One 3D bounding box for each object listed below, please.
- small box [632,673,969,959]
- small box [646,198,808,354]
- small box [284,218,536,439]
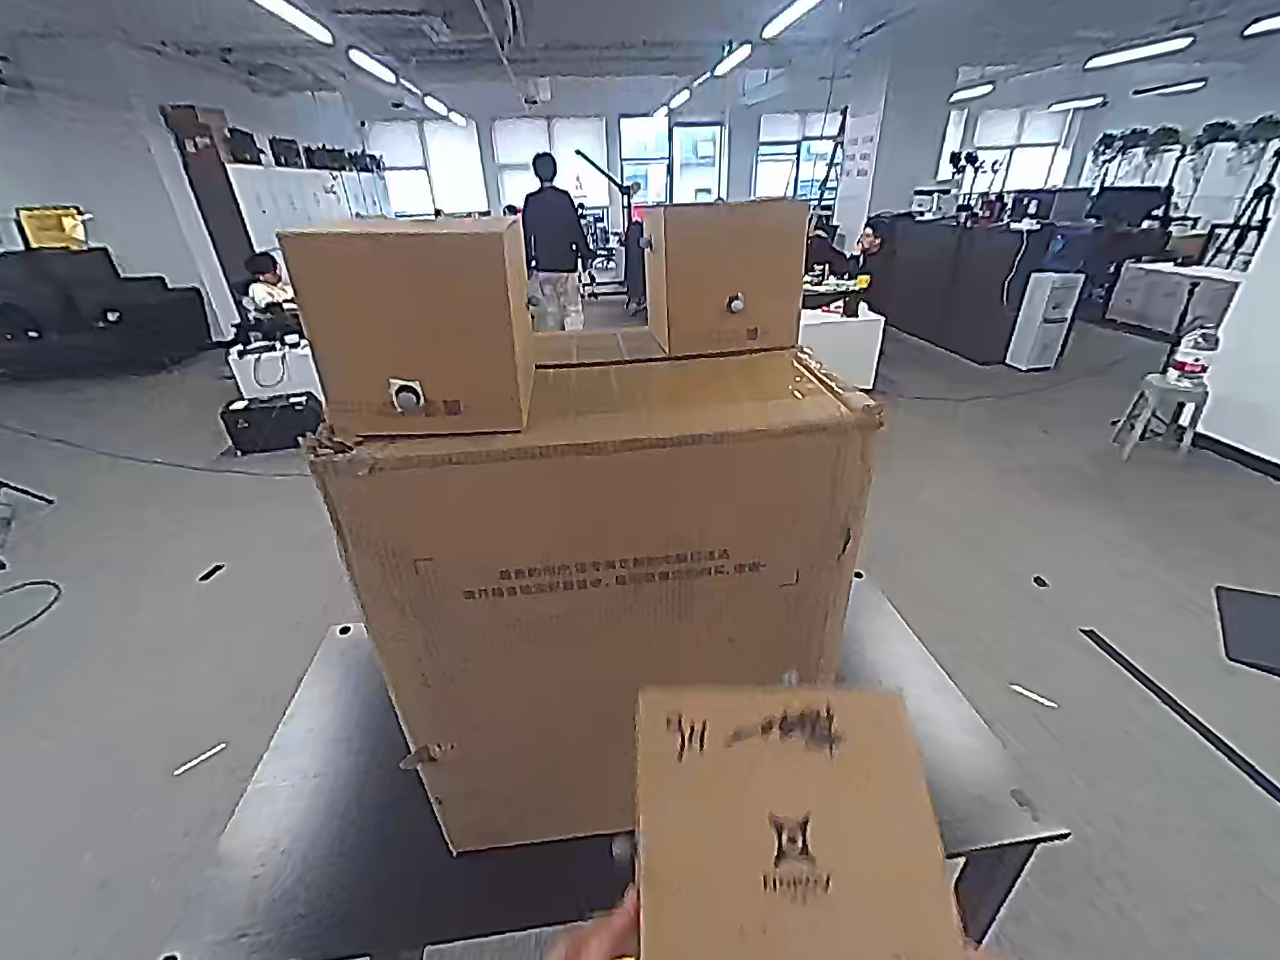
[{"bbox_3d":[0.079,0.231,0.357,0.168,0.176,0.179,0,61,-1],"label":"small box"},{"bbox_3d":[0.100,-0.265,0.703,0.168,0.176,0.179,-6,27,-5],"label":"small box"},{"bbox_3d":[-0.191,-0.149,0.513,0.168,0.176,0.179,-4,30,-6],"label":"small box"}]
